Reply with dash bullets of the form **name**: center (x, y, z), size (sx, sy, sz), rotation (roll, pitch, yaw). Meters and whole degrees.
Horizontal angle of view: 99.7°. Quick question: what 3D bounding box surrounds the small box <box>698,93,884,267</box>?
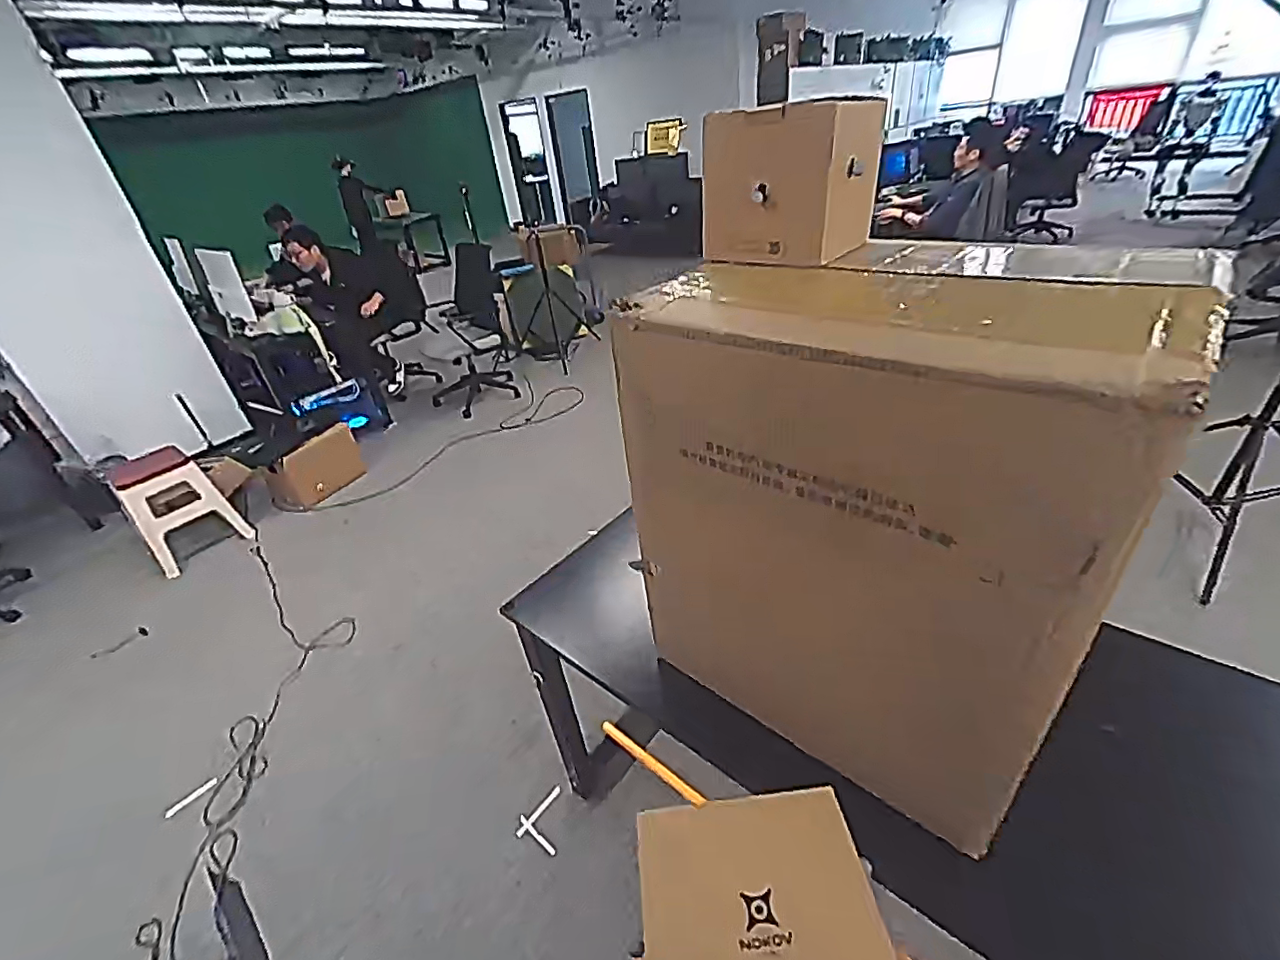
- **small box**: center (0.192, -0.378, 0.690), size (0.168, 0.176, 0.179), rotation (18, 39, 33)

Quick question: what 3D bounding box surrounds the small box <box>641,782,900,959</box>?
- **small box**: center (0.092, 0.370, 0.413), size (0.168, 0.176, 0.179), rotation (-8, 31, 0)
